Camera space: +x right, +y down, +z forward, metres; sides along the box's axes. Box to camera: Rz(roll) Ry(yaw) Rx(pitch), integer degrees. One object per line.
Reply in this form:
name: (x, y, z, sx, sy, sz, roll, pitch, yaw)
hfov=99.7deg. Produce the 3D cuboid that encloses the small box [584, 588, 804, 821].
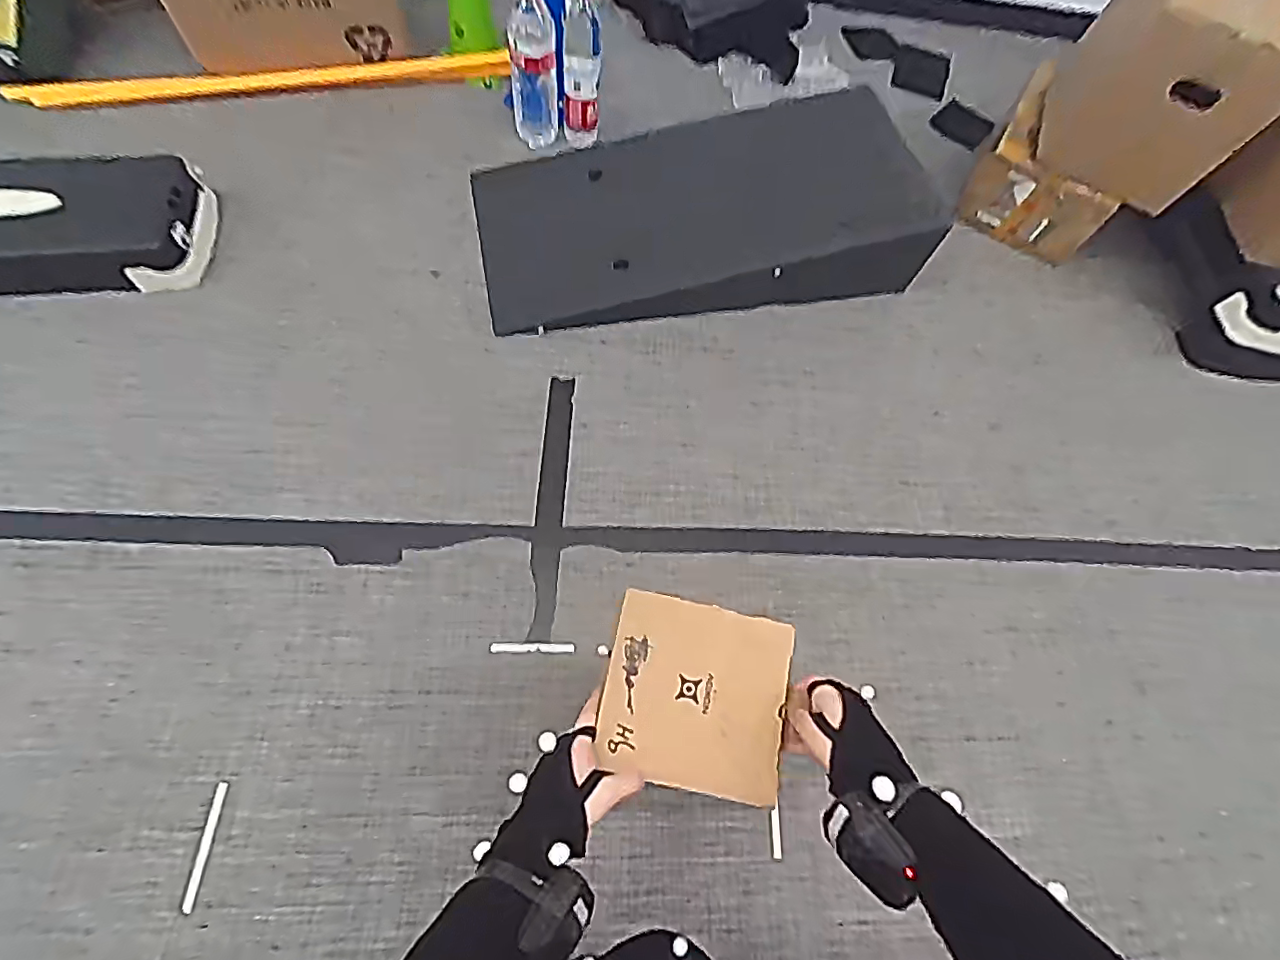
small box: (0.046, 0.221, 0.560, 0.179, 0.176, 0.168, 14, 70, 0)
